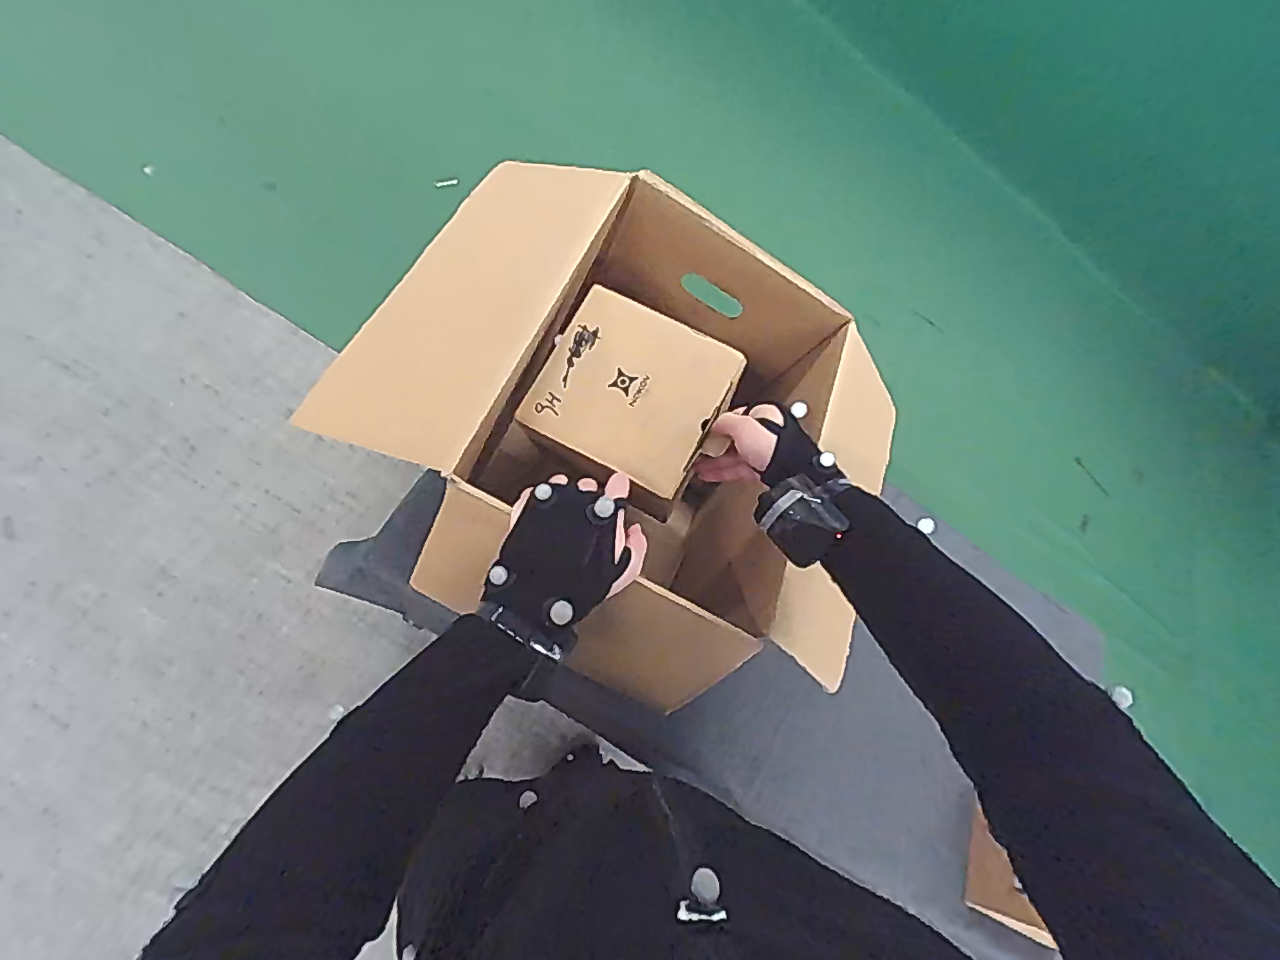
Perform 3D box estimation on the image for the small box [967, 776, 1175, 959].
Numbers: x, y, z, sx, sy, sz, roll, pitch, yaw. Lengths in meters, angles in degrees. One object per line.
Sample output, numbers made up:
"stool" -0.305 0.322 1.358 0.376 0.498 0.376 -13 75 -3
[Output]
"small box" 0.604 0.554 0.772 0.168 0.176 0.179 32 62 -8
